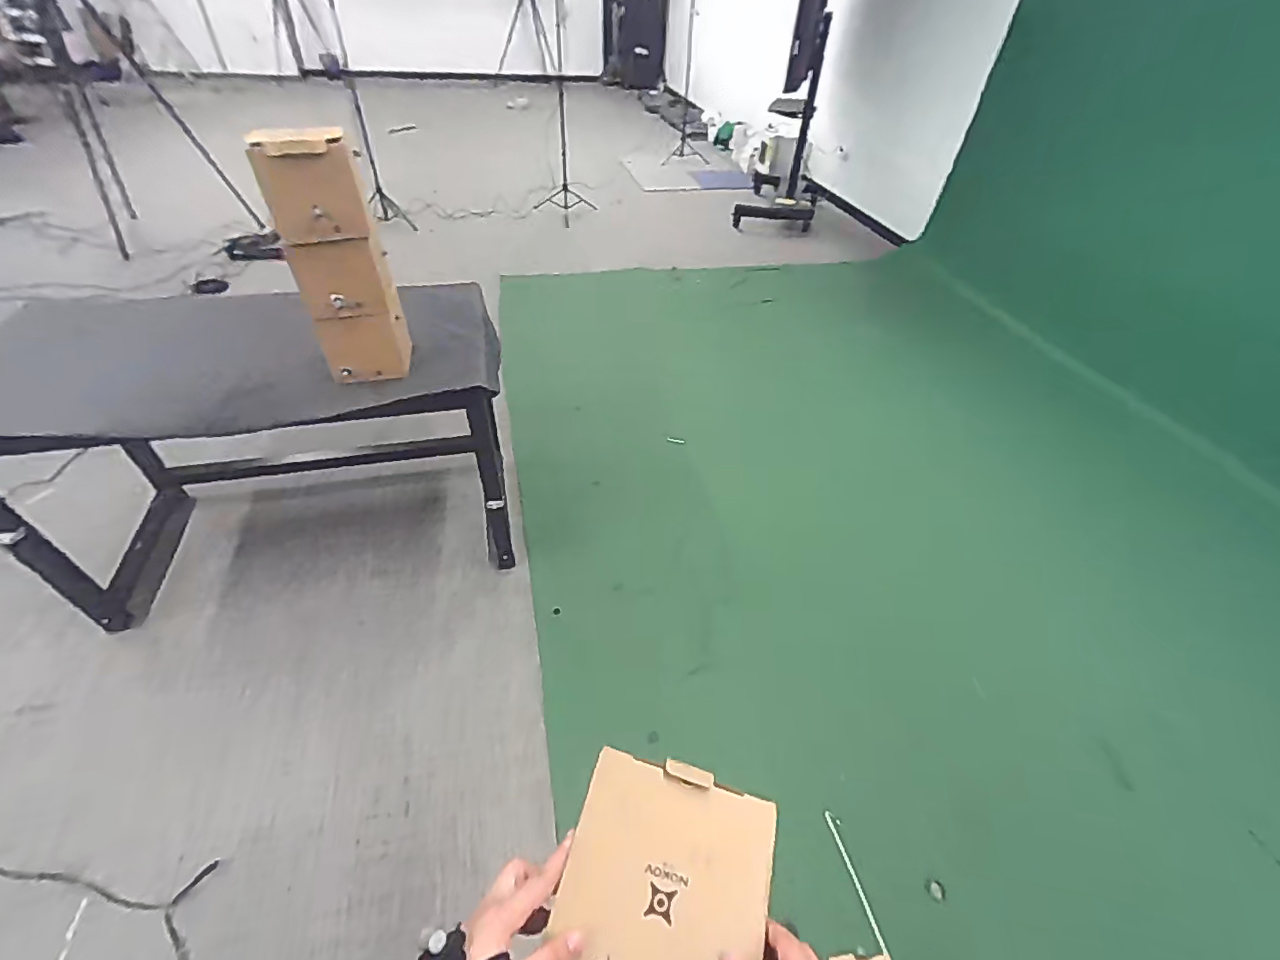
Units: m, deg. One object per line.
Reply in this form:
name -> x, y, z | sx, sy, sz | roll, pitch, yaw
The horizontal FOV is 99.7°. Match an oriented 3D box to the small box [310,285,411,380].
small box -> -0.663, -0.353, 1.306 | 0.168, 0.176, 0.179 | -8, 42, -12

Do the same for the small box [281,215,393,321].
small box -> -0.657, -0.471, 1.195 | 0.168, 0.176, 0.179 | -12, 45, -14

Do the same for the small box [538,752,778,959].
small box -> 0.013, 0.382, 0.492 | 0.168, 0.176, 0.179 | 16, 52, 7

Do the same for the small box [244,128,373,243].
small box -> -0.647, -0.588, 1.078 | 0.168, 0.176, 0.179 | -14, 44, -15
